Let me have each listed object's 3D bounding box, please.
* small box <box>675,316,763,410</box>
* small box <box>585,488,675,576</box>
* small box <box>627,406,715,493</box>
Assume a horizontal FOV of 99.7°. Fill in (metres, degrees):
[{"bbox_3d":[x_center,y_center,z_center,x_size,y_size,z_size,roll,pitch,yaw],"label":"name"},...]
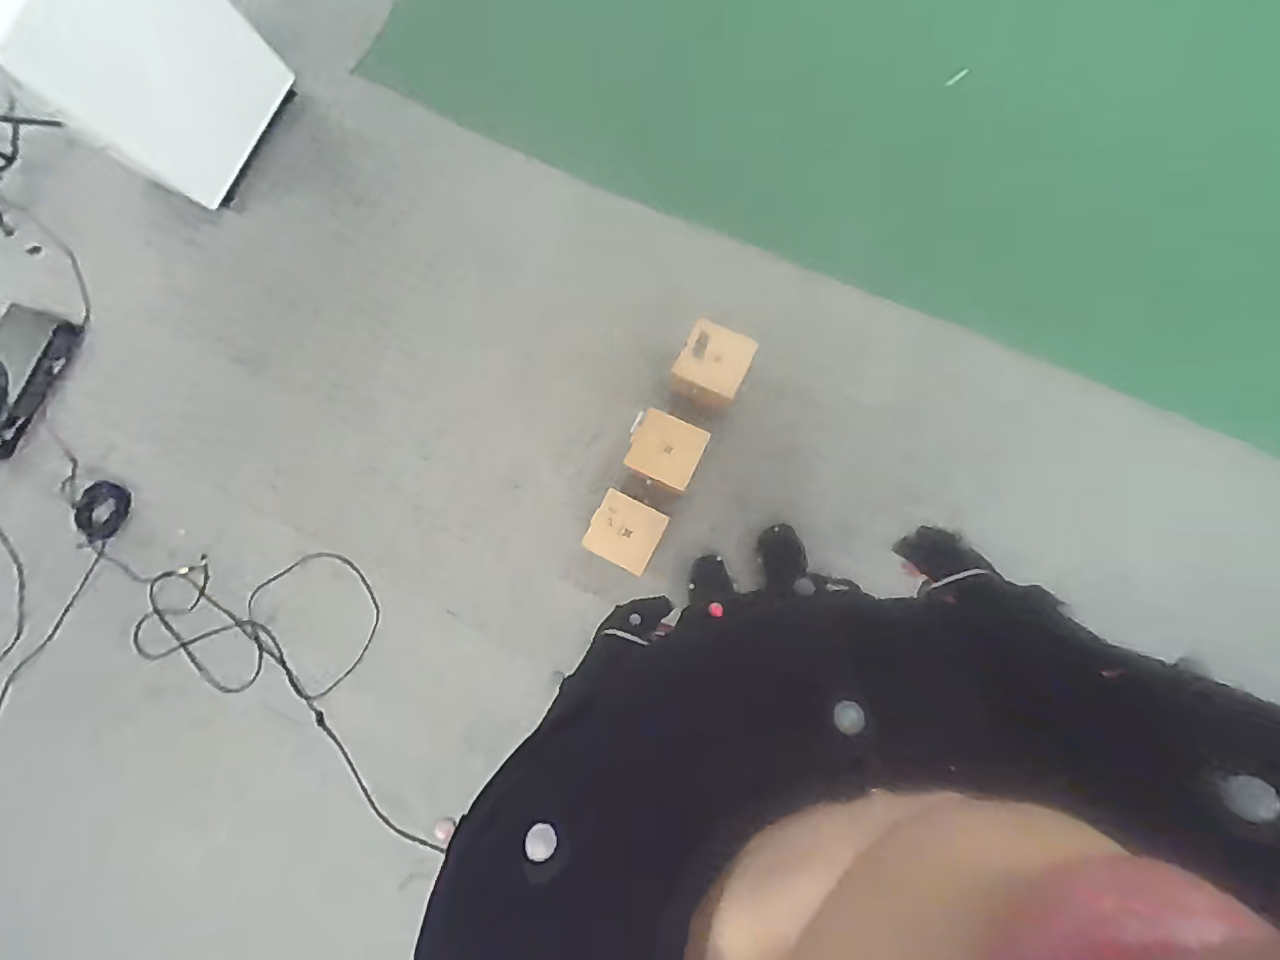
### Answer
[{"bbox_3d":[0.207,-0.306,1.449,0.179,0.176,0.168,25,86,7],"label":"small box"},{"bbox_3d":[-0.017,0.135,1.417,0.179,0.176,0.168,26,86,8],"label":"small box"},{"bbox_3d":[0.086,-0.072,1.433,0.179,0.176,0.168,24,86,8],"label":"small box"}]
